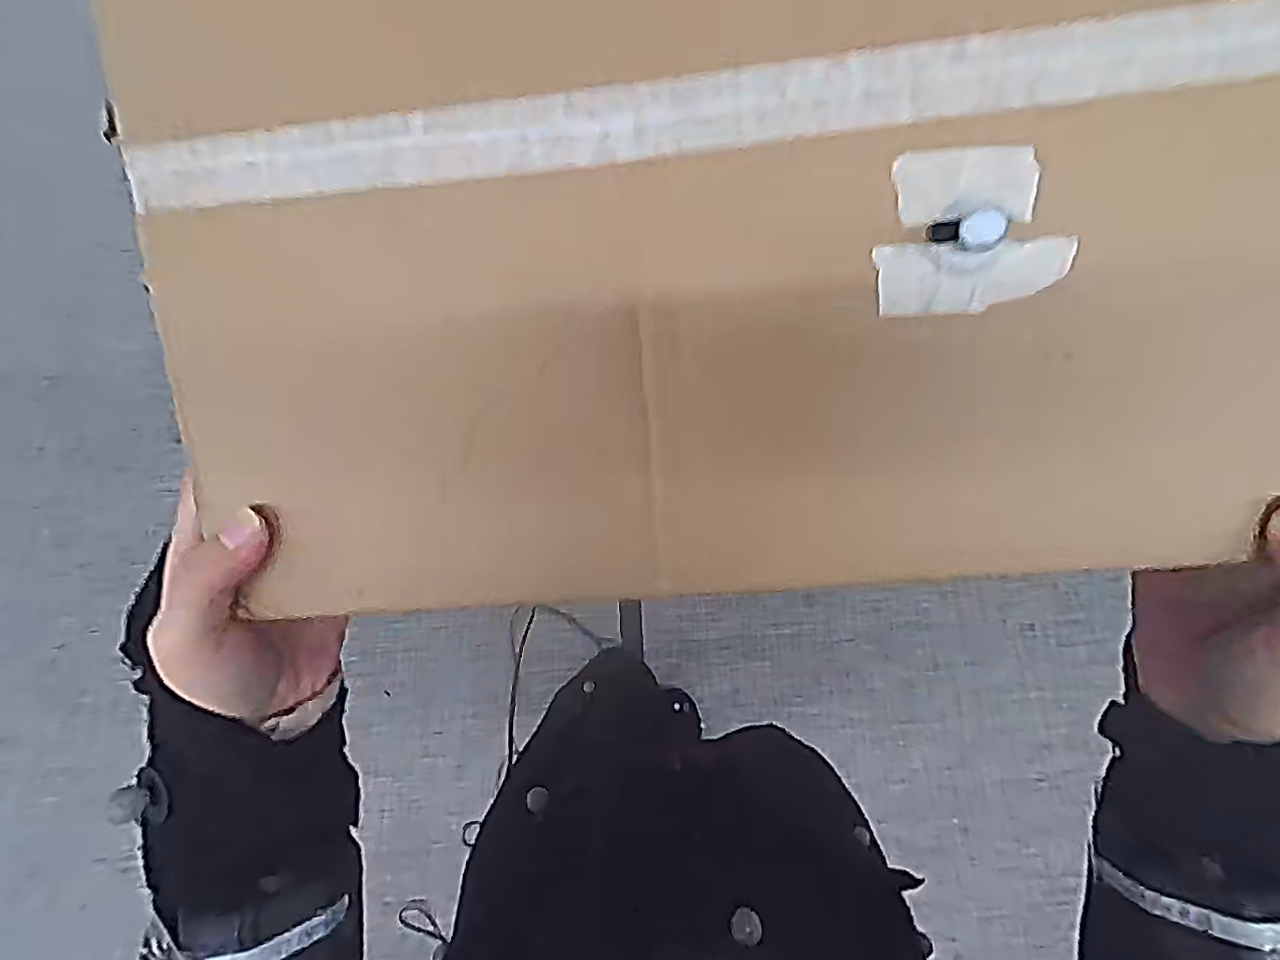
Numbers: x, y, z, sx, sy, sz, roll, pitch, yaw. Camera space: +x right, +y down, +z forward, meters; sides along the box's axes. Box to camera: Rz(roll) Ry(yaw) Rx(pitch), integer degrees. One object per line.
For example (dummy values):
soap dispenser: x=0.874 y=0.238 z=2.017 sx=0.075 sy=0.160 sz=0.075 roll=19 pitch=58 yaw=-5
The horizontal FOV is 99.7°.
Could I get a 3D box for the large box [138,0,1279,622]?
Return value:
large box: x=0.038 y=-0.132 z=0.328 sx=0.408 sy=0.320 sz=0.320 roll=-5 pitch=98 yaw=3
